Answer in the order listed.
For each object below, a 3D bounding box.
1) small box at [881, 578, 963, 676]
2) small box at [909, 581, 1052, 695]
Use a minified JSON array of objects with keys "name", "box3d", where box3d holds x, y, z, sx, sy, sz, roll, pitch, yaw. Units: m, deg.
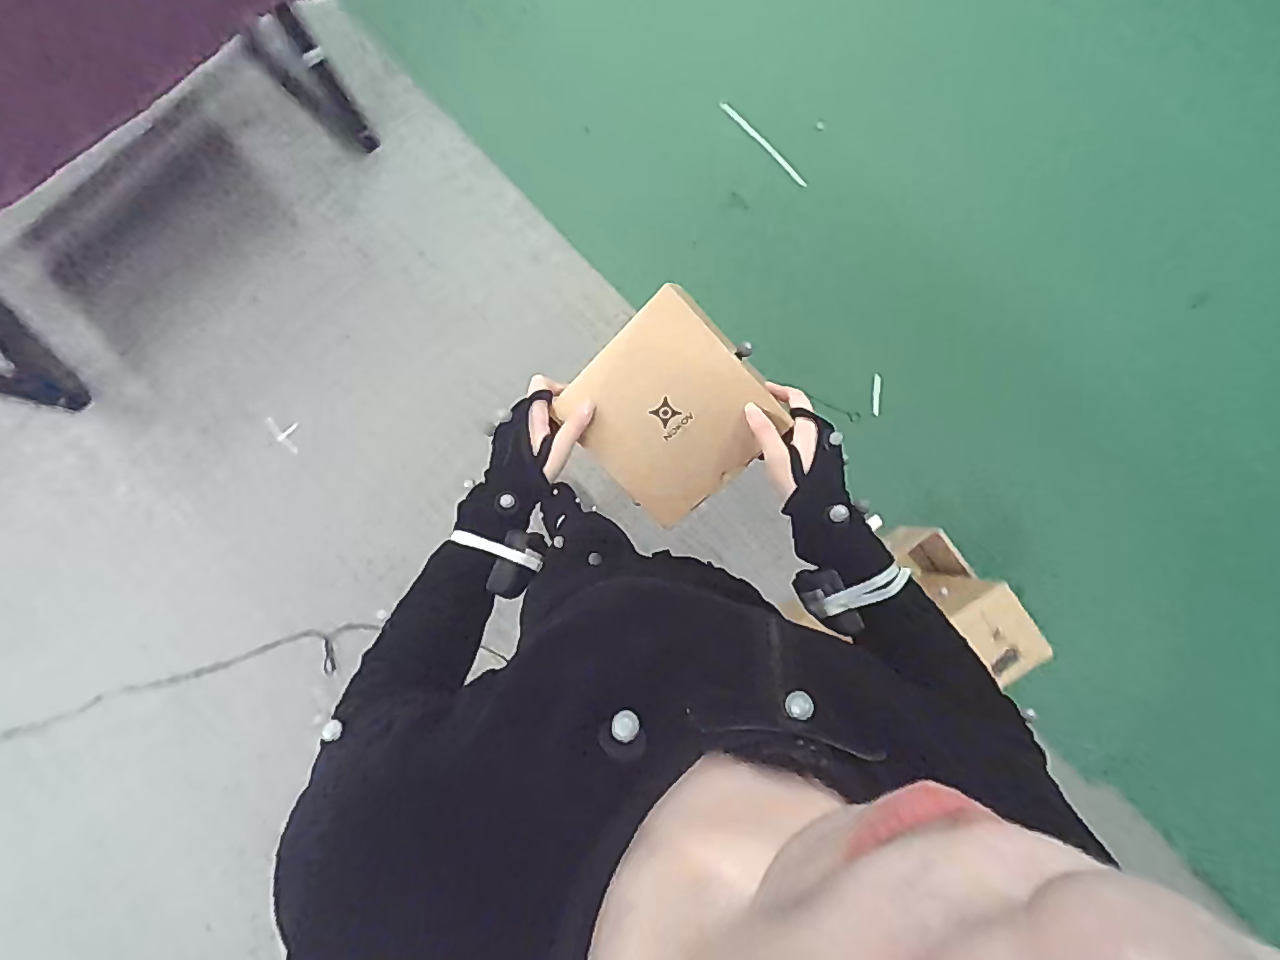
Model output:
[{"name":"small box","box3d":[0.752,0.361,1.371,0.168,0.176,0.179,-32,85,-3]},{"name":"small box","box3d":[0.748,0.343,1.209,0.168,0.176,0.179,-31,84,-3]}]
